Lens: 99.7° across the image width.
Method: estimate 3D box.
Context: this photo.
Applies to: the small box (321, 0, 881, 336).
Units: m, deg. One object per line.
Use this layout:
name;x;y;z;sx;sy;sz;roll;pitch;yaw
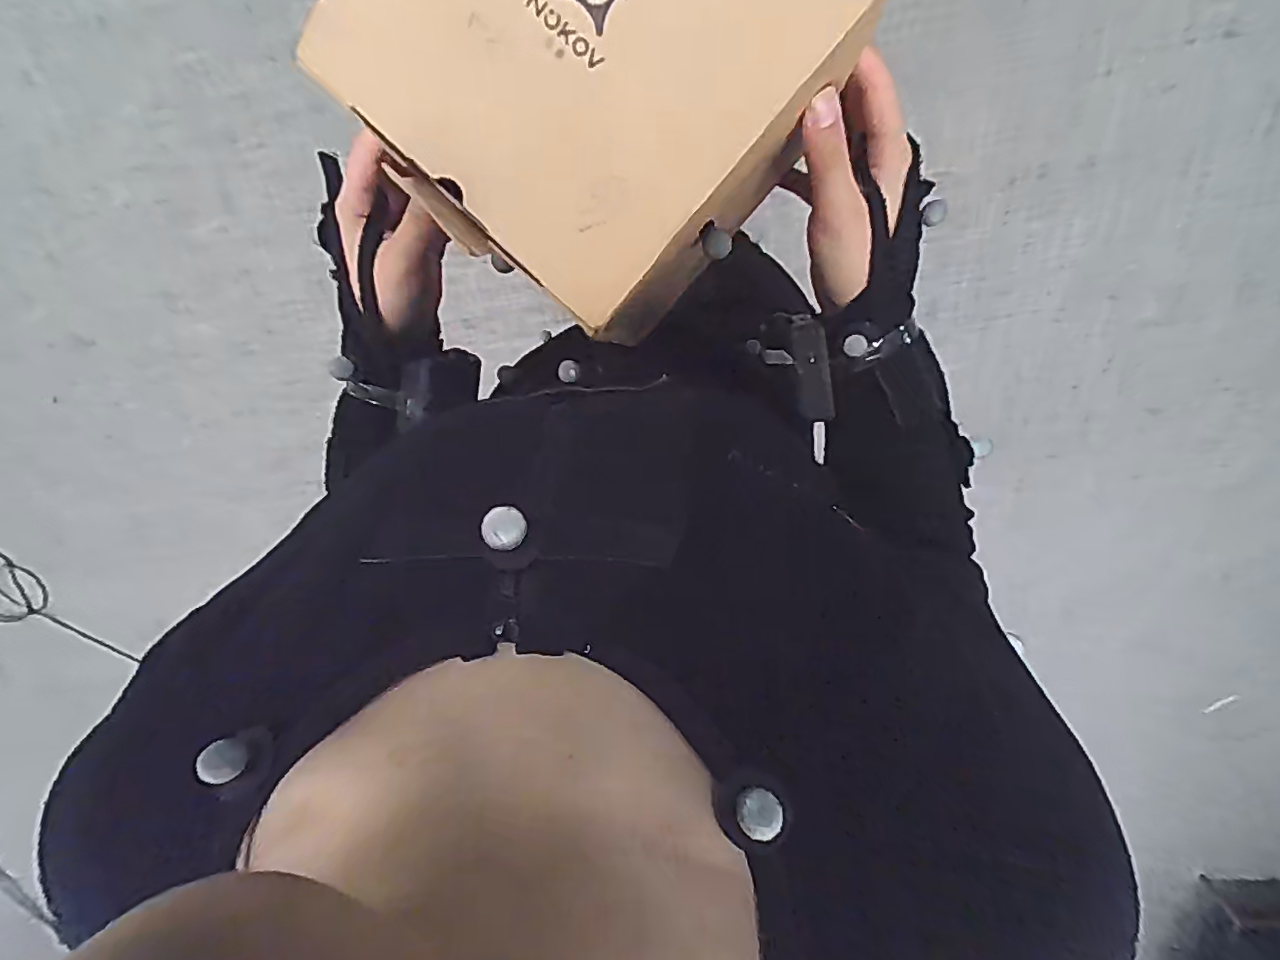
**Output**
small box;-0.012;-0.194;0.291;0.168;0.176;0.179;41;104;-4
